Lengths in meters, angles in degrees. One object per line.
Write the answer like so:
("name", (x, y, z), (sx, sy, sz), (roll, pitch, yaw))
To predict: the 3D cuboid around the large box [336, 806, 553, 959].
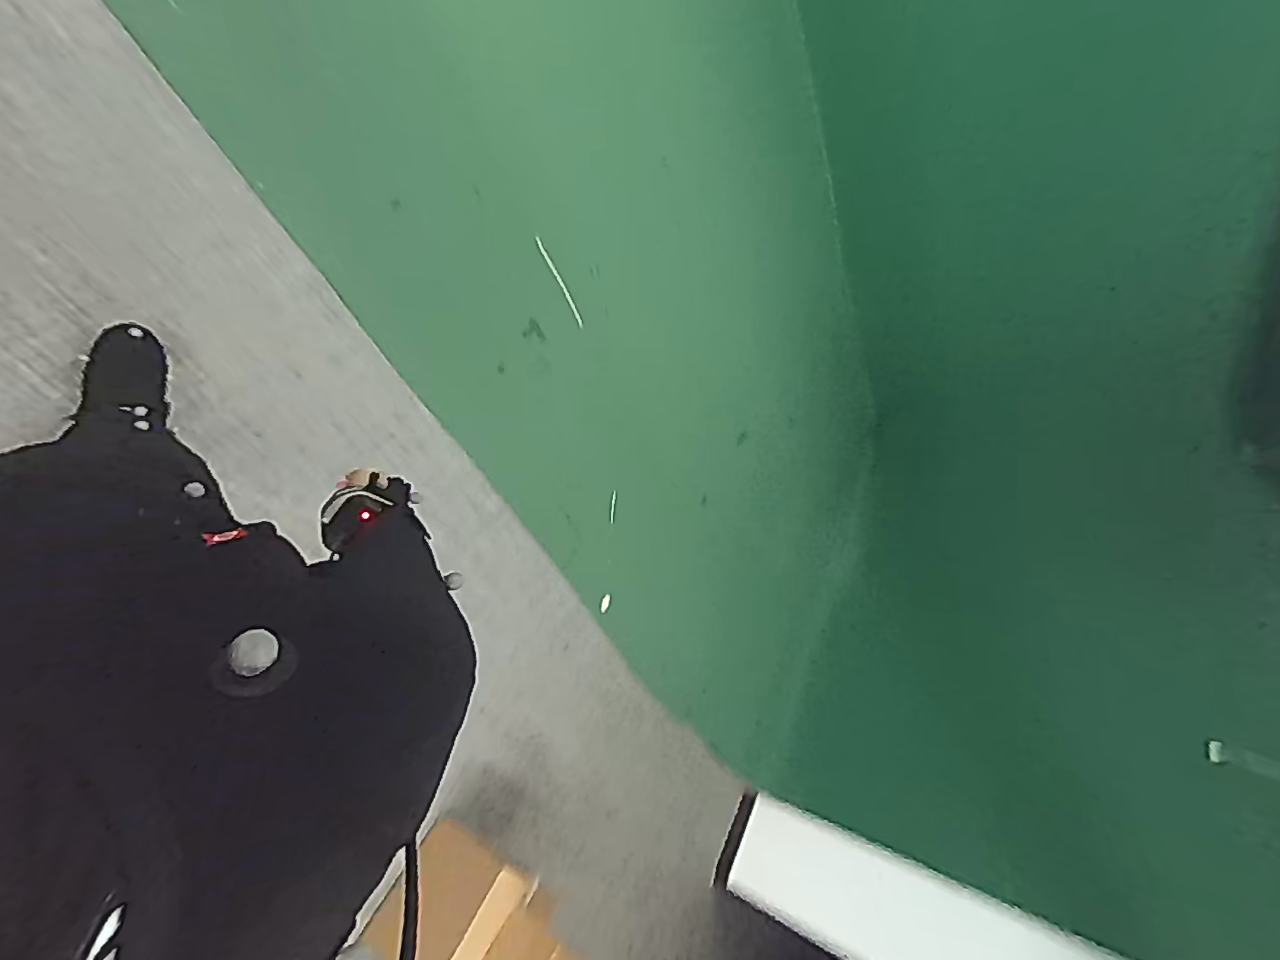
("large box", (-0.523, 1.213, 1.493), (0.408, 0.320, 0.320), (-55, 132, -30))
